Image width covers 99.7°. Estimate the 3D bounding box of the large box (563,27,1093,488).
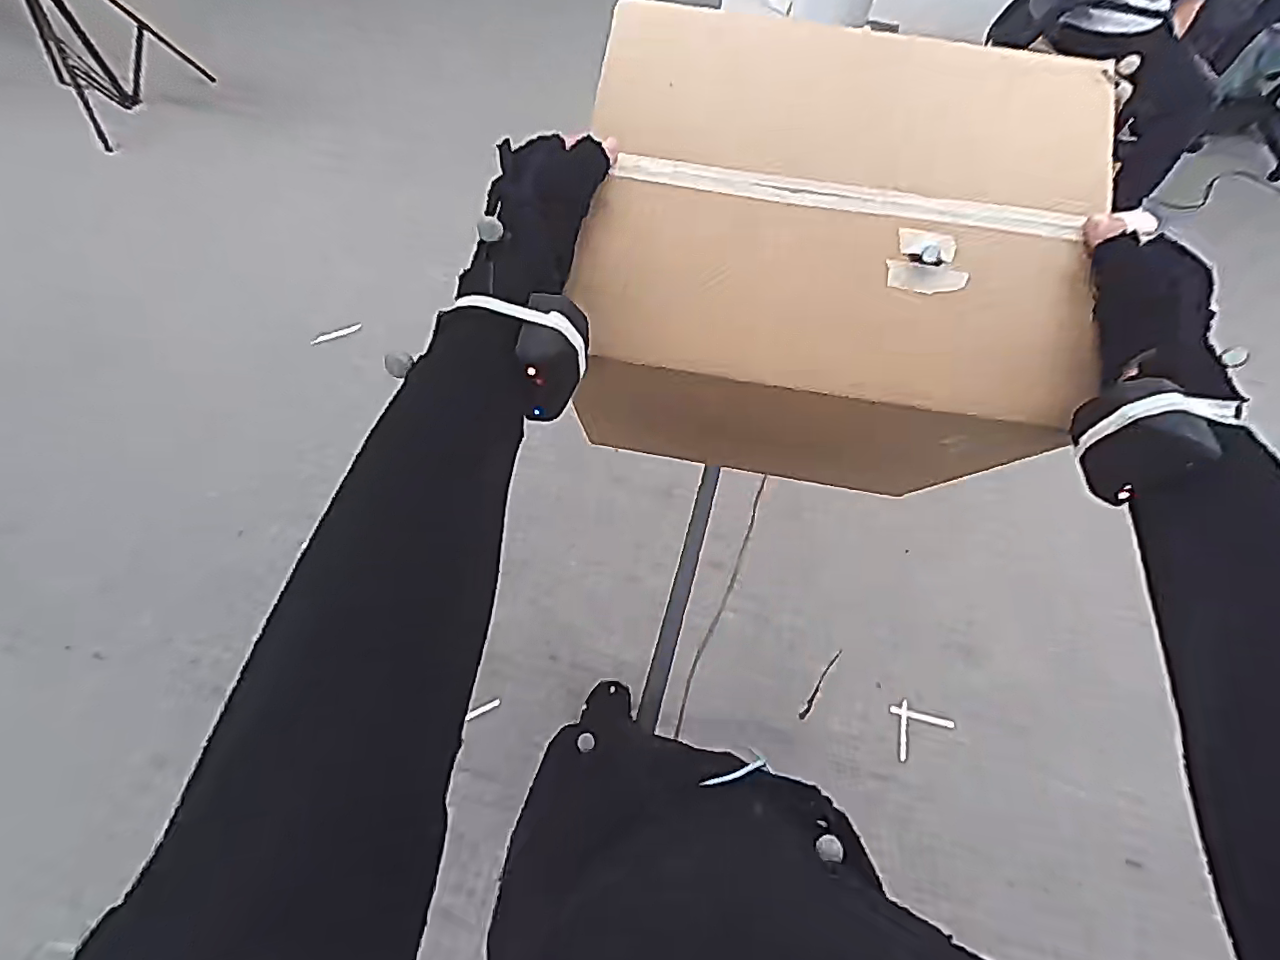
[{"bbox_3d":[0.158,-0.191,0.583,0.408,0.320,0.320,10,82,2],"label":"large box"}]
